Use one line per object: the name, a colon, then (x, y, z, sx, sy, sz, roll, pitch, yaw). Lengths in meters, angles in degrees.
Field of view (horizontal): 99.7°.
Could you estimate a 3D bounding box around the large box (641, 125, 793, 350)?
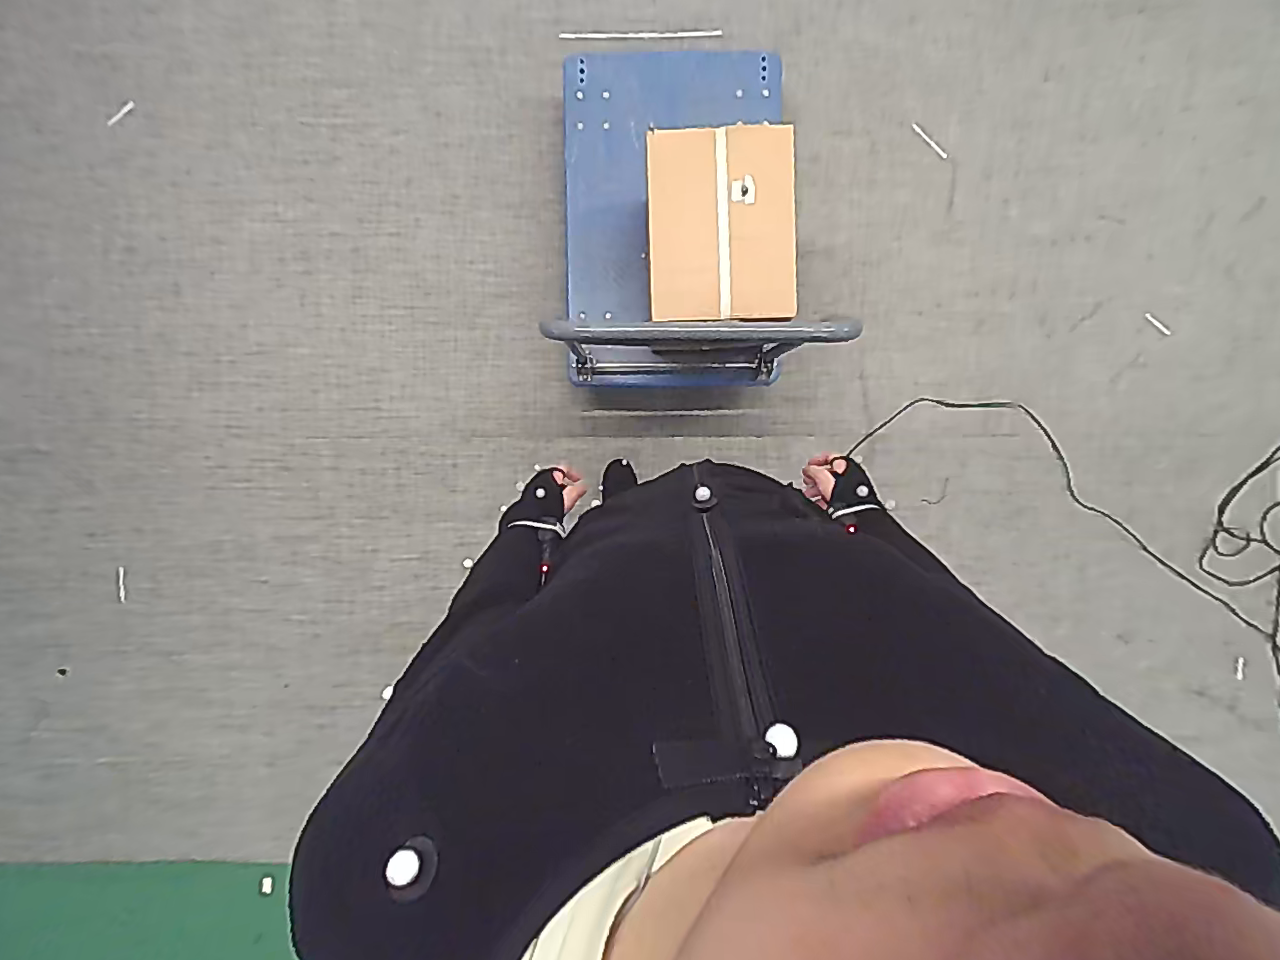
large box: (0.166, -0.547, 1.291, 0.320, 0.320, 0.408, -2, 92, 0)
